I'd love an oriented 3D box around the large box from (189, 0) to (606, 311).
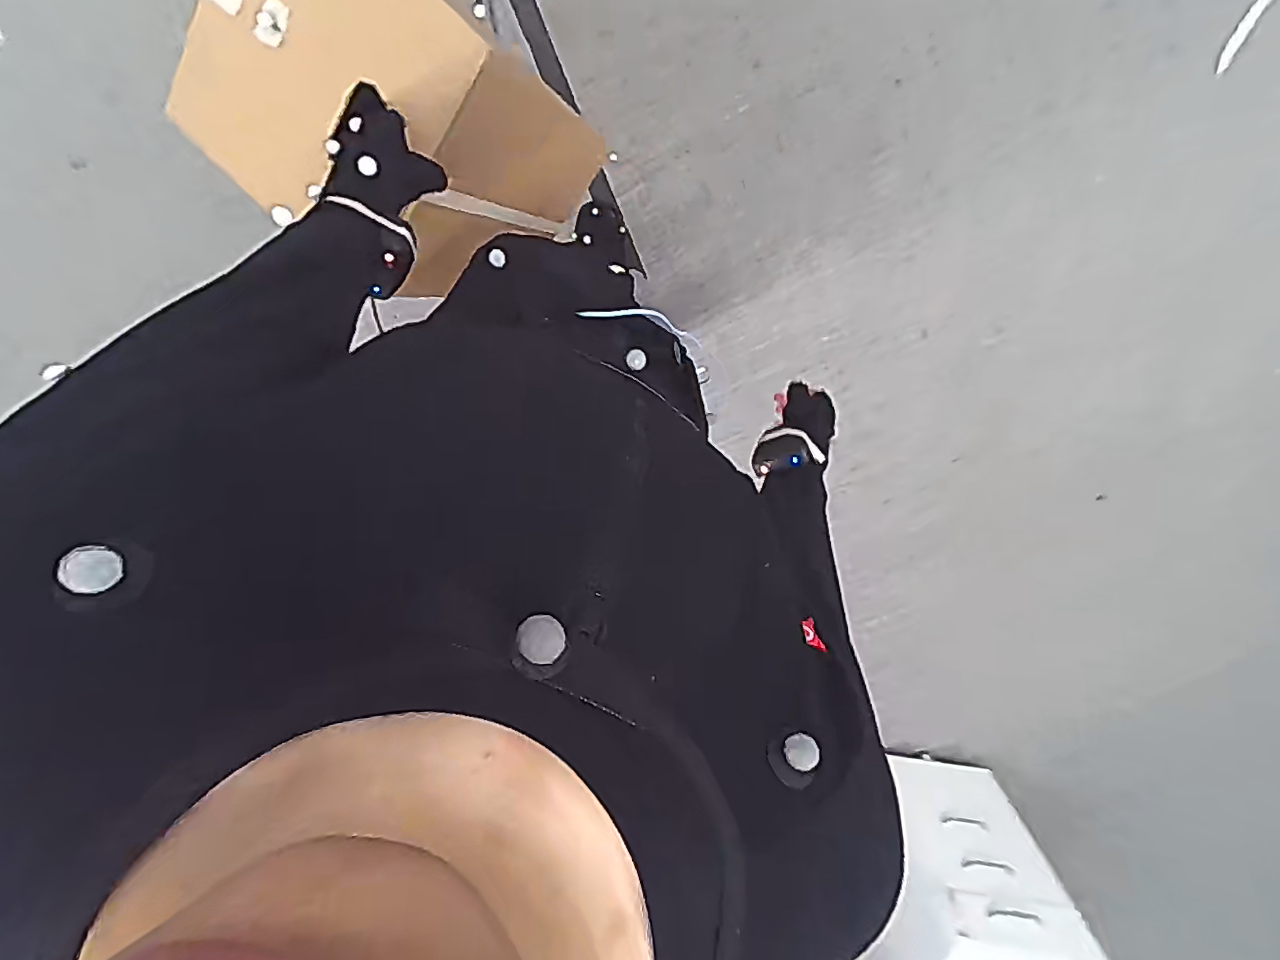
[{"bbox_3d":[-0.309,-0.478,0.782,0.320,0.408,0.320,42,114,-3],"label":"large box"}]
